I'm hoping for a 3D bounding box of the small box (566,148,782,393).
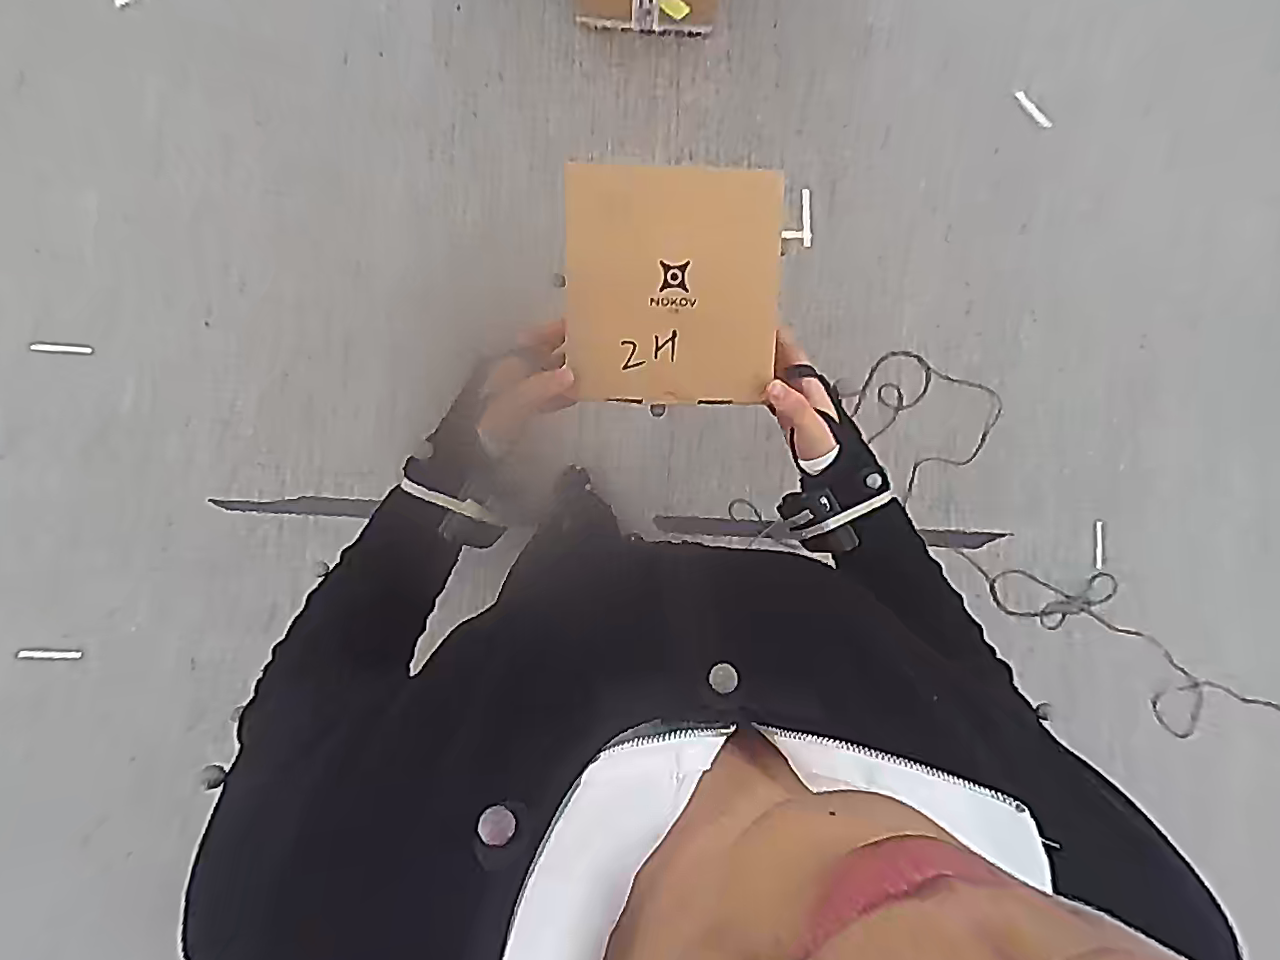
[{"bbox_3d":[0.021,-0.172,0.498,0.168,0.176,0.179,1,99,-2],"label":"small box"}]
